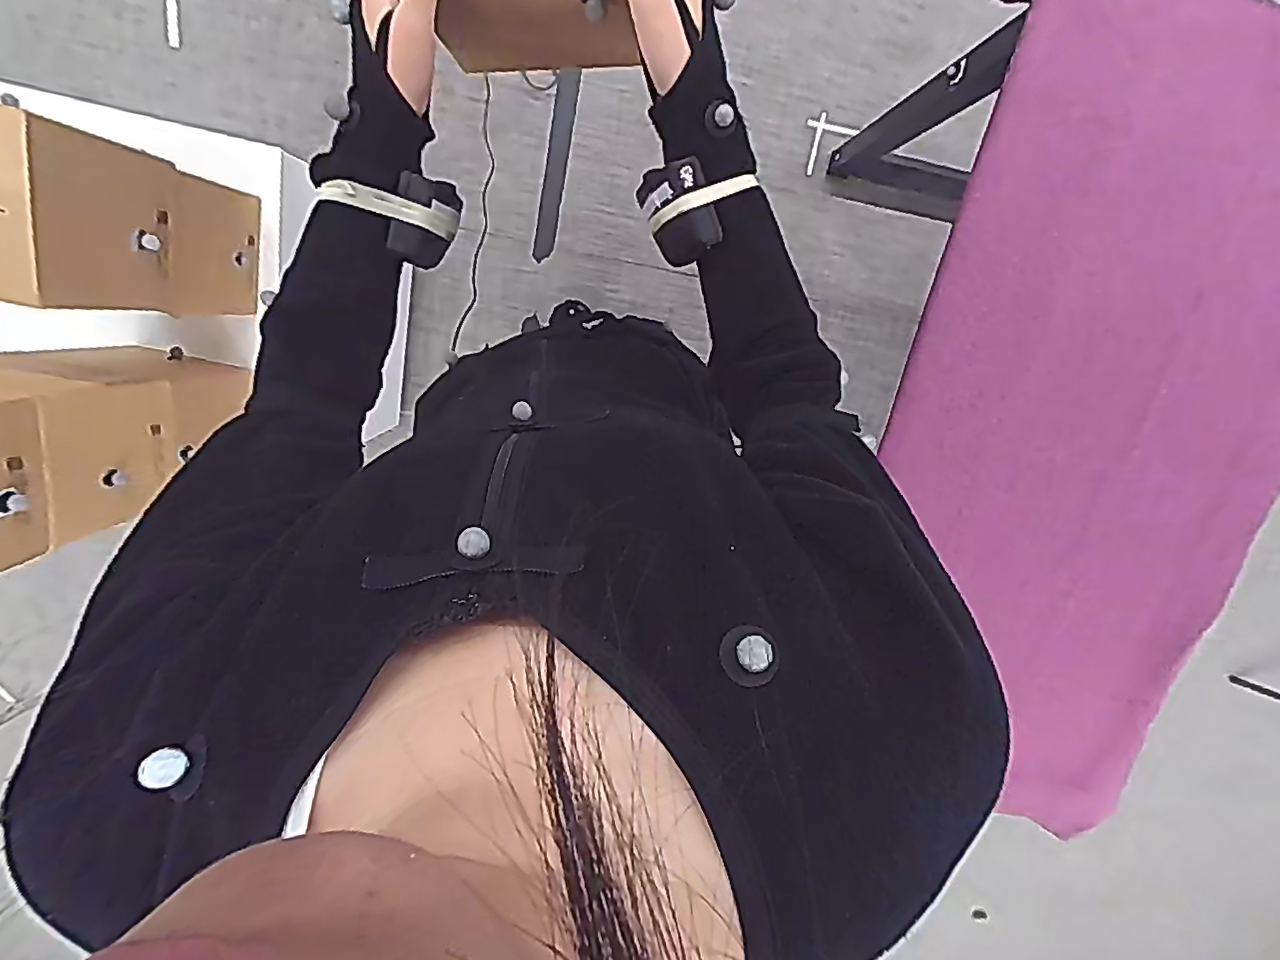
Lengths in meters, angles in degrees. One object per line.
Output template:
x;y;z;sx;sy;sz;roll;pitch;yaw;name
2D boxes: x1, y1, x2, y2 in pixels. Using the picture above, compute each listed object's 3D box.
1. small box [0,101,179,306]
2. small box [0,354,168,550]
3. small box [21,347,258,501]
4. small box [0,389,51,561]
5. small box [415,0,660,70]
-0.611;-0.272;0.533;0.179;0.176;0.168;12;106;-8;small box
-0.672;-0.041;0.601;0.179;0.176;0.168;10;106;-5;small box
-0.681;-0.087;0.756;0.179;0.176;0.168;12;106;-5;small box
-0.665;0.003;0.445;0.179;0.176;0.168;9;107;-6;small box
-0.071;-0.419;0.380;0.179;0.176;0.168;-2;107;1;small box
